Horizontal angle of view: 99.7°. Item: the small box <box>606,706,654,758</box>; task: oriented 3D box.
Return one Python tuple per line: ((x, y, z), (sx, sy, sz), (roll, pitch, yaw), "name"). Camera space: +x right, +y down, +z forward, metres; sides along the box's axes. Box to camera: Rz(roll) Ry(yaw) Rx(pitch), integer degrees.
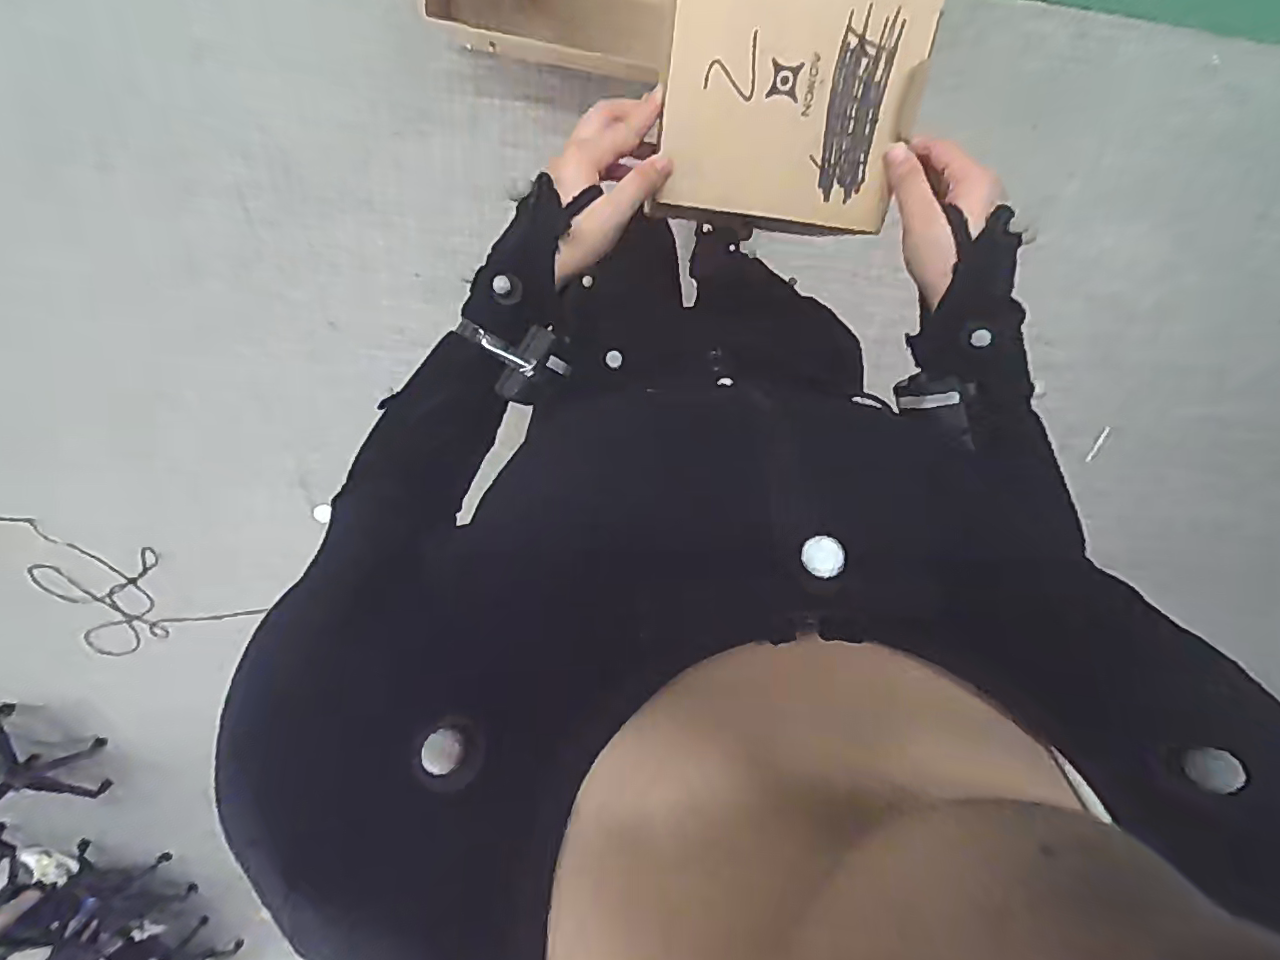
((-0.039, 1.041, 2.188), (0.179, 0.176, 0.168), (4, 122, -1), "small box")
